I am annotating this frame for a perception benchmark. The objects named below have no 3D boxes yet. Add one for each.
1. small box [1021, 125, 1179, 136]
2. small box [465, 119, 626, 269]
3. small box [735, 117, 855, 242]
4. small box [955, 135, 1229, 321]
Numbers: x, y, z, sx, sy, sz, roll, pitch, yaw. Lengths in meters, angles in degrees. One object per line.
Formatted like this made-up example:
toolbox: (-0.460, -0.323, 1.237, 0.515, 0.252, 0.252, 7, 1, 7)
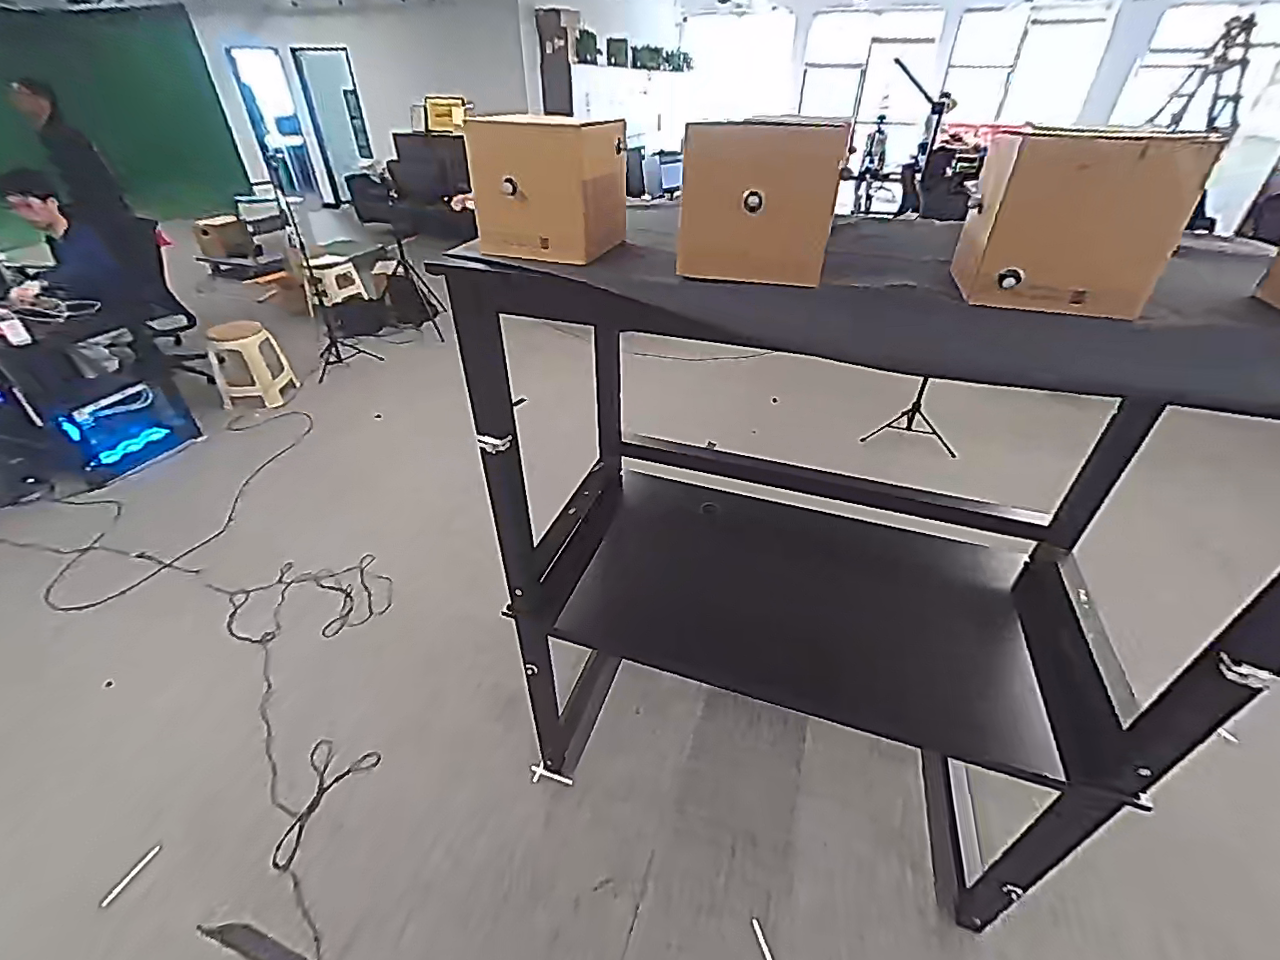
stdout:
small box: (0.657, -0.439, 0.831, 0.168, 0.176, 0.179, 16, 38, 19)
small box: (-0.121, -0.414, 0.778, 0.168, 0.176, 0.179, 11, 37, 13)
small box: (0.264, -0.518, 0.928, 0.168, 0.176, 0.179, 12, 38, 14)
small box: (0.482, -0.291, 0.616, 0.168, 0.176, 0.179, 12, 35, 16)
